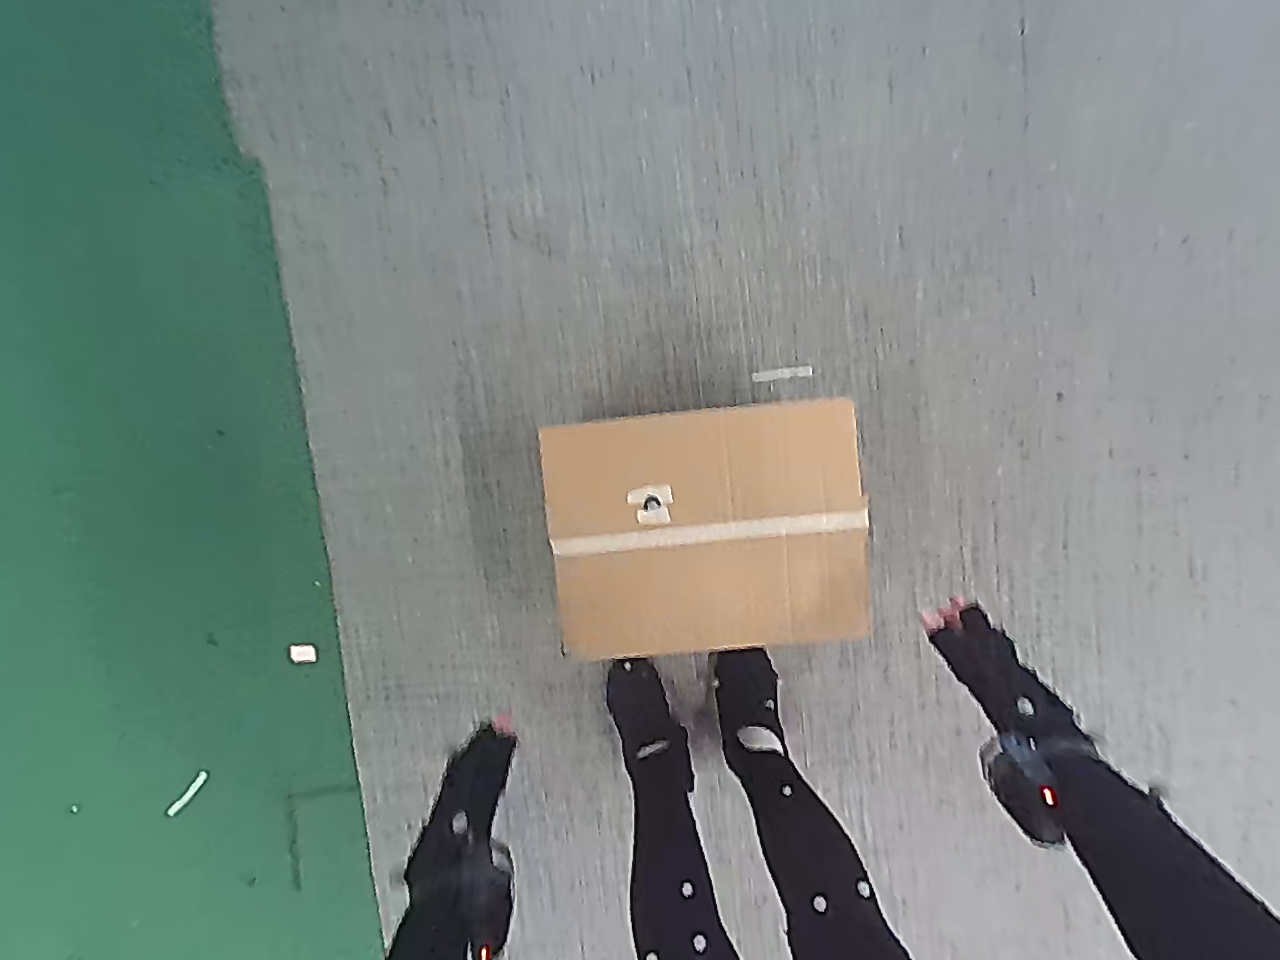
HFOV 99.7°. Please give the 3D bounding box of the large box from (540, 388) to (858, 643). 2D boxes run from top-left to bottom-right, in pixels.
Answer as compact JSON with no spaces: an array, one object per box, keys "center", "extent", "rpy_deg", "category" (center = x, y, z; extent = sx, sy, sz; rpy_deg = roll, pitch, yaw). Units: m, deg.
[{"center":[0.086,0.037,0.861],"extent":[0.408,0.320,0.320],"rpy_deg":[-5,95,2],"category":"large box"}]
